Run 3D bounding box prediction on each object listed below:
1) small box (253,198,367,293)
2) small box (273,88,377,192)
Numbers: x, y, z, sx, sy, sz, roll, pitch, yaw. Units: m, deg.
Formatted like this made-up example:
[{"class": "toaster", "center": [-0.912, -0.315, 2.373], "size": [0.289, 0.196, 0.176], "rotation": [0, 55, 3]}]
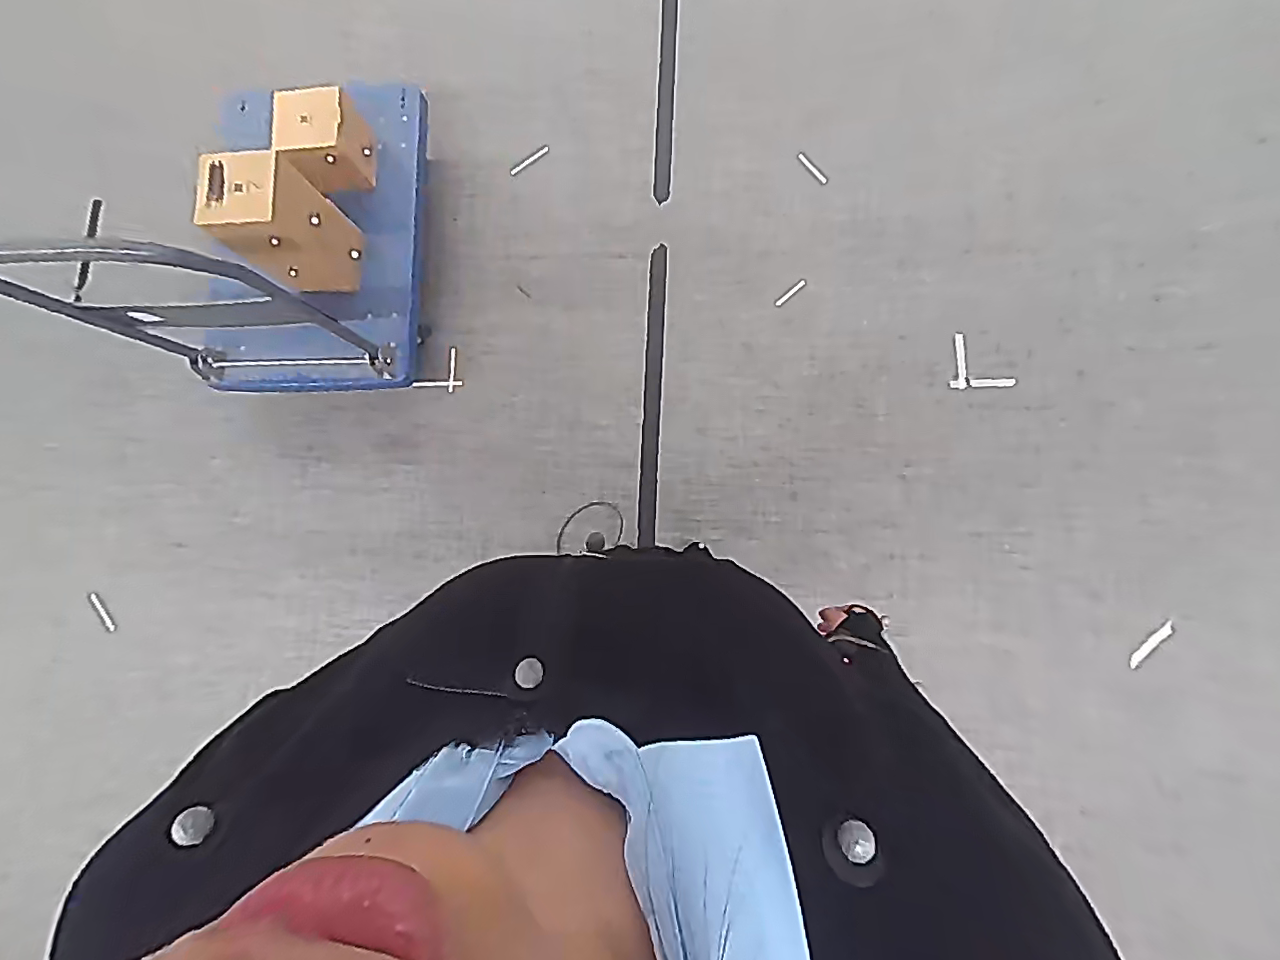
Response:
[{"class": "small box", "center": [-0.840, -0.595, 1.390], "size": [0.179, 0.176, 0.168], "rotation": [3, 84, 4]}, {"class": "small box", "center": [-0.825, -0.887, 1.427], "size": [0.179, 0.176, 0.168], "rotation": [-3, 83, 3]}]
